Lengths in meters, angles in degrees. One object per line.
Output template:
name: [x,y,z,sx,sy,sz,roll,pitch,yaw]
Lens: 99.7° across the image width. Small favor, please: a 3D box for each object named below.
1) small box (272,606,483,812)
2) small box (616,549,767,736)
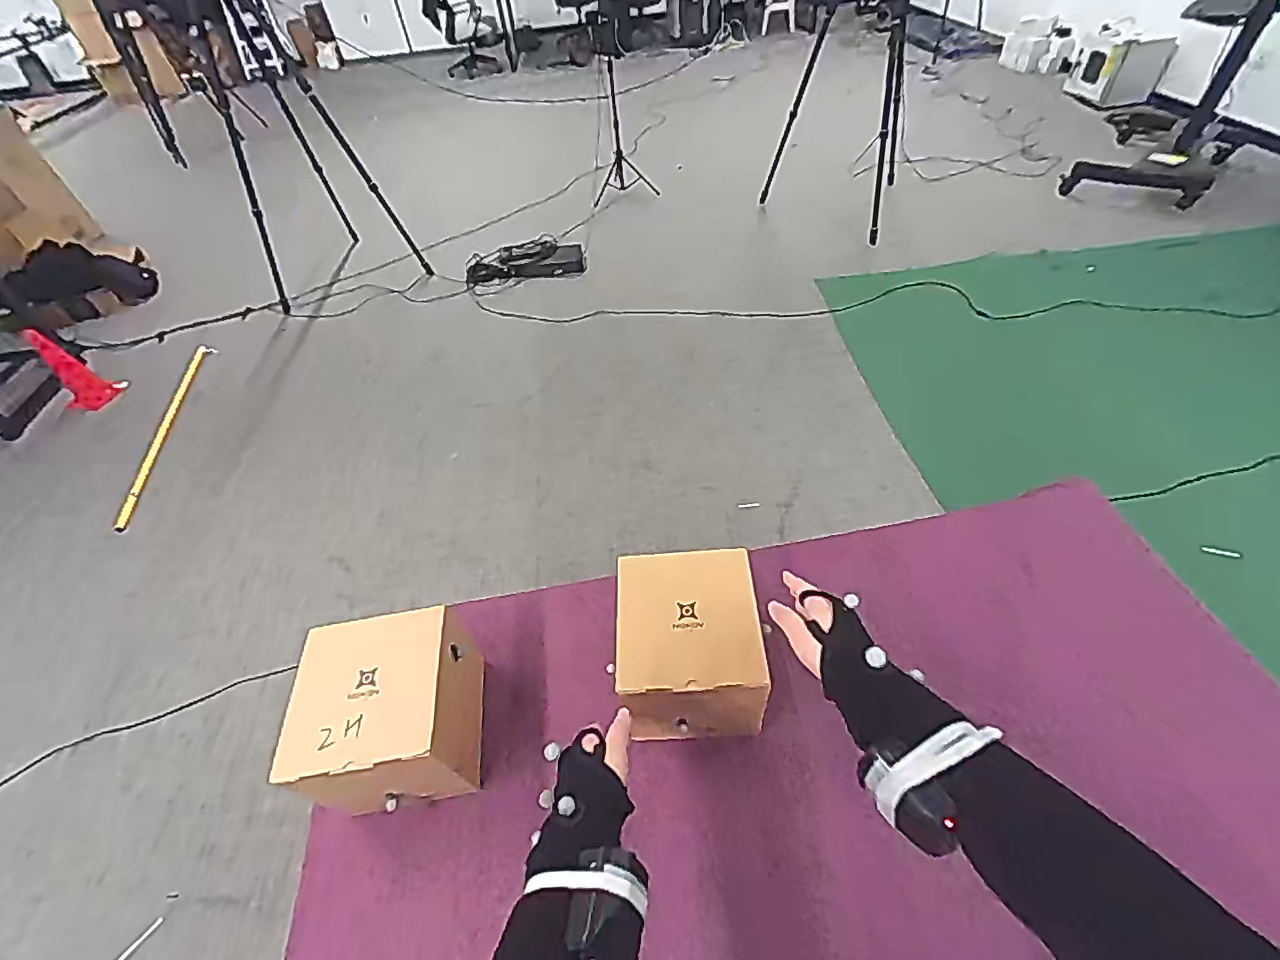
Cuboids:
small box: [-0.300,0.283,0.667,0.168,0.176,0.179,-10,49,-2]
small box: [0.060,0.210,0.692,0.168,0.176,0.179,-4,50,3]
